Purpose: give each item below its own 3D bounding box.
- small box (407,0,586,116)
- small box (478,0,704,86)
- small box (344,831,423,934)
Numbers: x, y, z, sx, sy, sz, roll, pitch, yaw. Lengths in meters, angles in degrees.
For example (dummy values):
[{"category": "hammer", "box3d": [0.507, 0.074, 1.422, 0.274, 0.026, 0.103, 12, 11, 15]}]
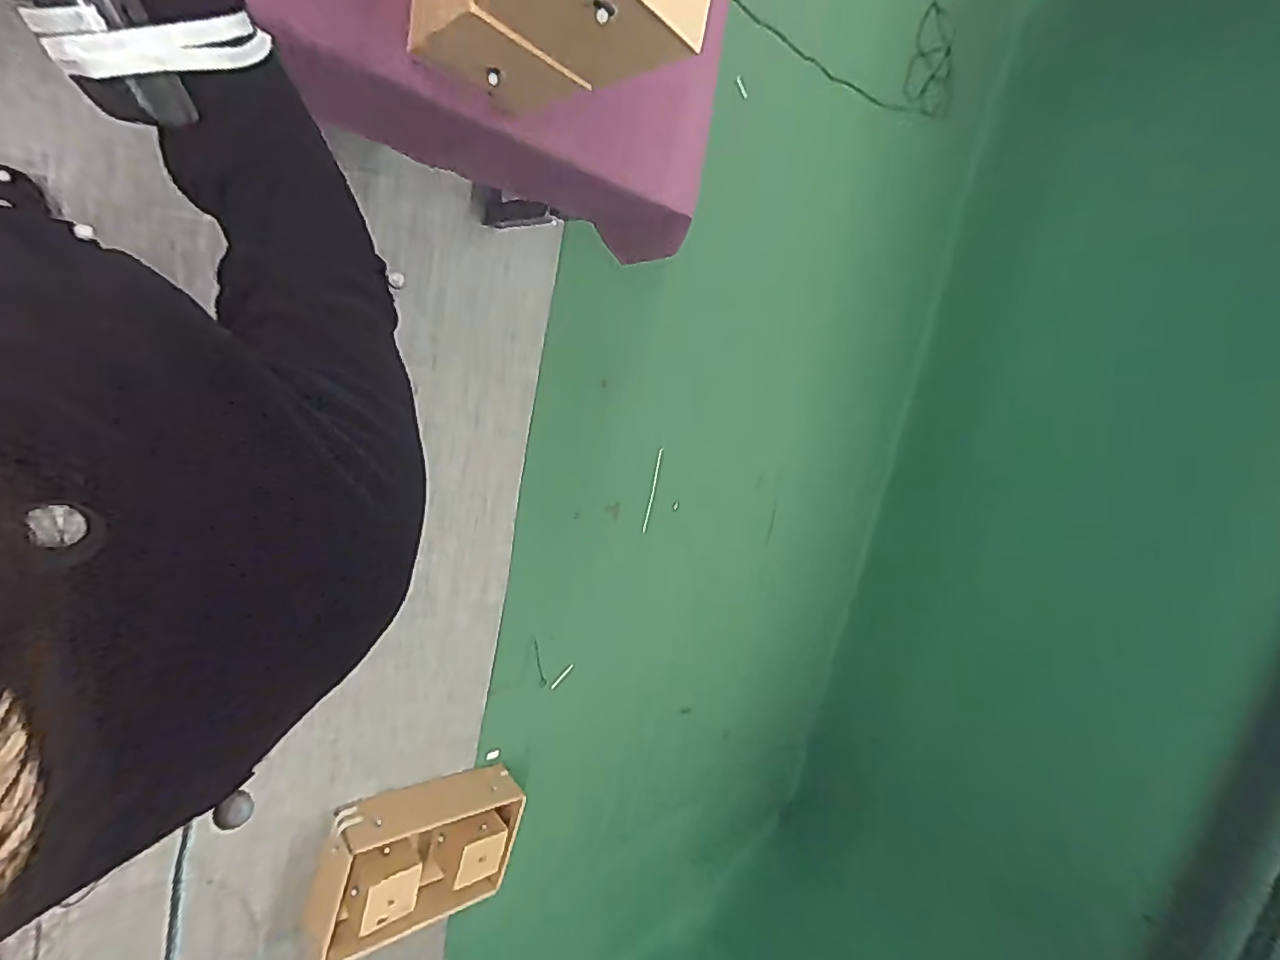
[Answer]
[{"category": "small box", "box3d": [-0.165, -0.582, 0.657, 0.168, 0.176, 0.179, 0, 104, -46]}, {"category": "small box", "box3d": [-0.045, -0.542, 0.551, 0.179, 0.176, 0.168, 1, 104, -46]}, {"category": "small box", "box3d": [-0.811, 1.249, 1.701, 0.168, 0.176, 0.179, 7, 99, -47]}]
